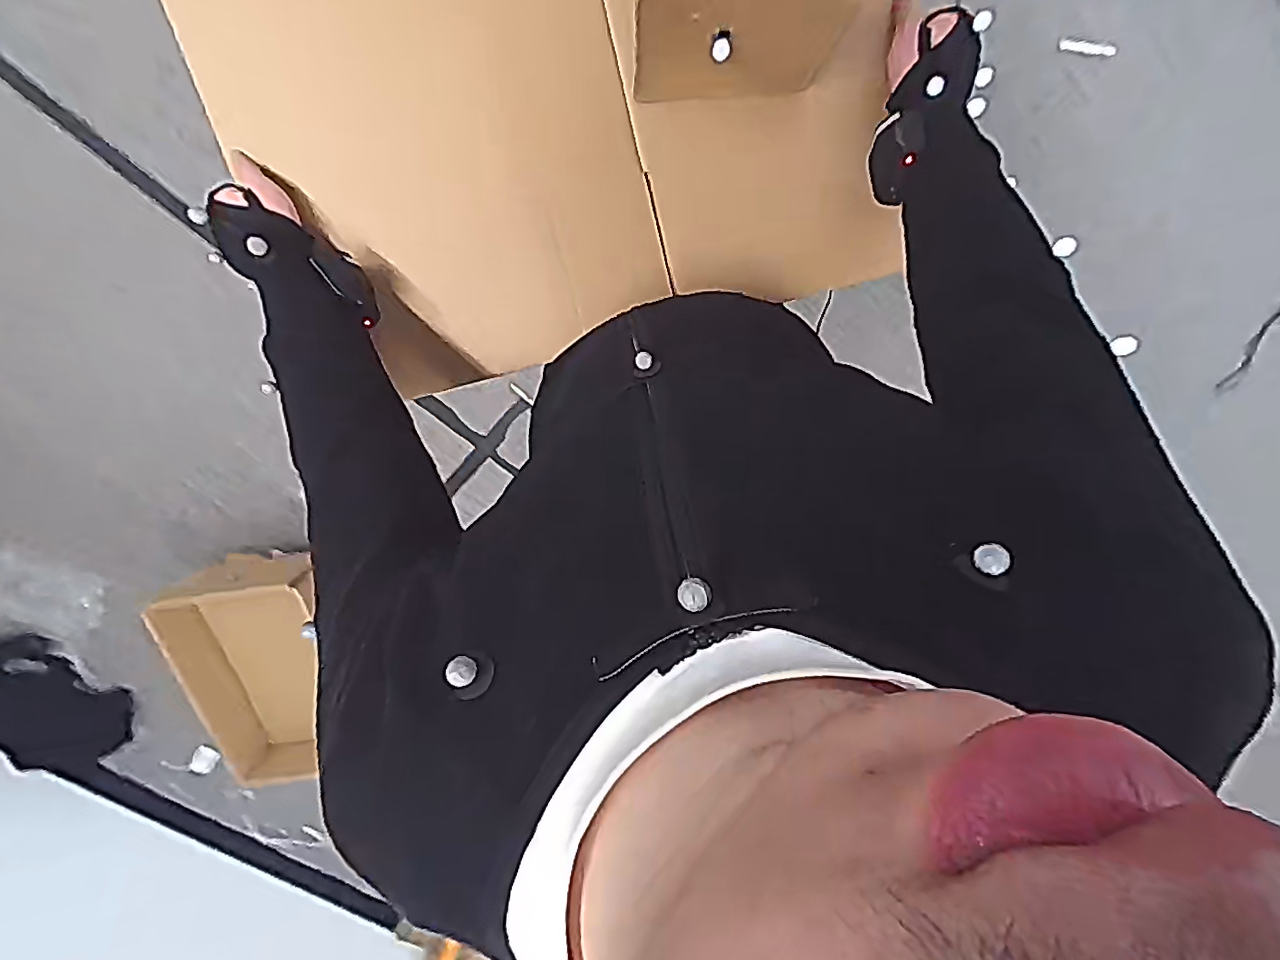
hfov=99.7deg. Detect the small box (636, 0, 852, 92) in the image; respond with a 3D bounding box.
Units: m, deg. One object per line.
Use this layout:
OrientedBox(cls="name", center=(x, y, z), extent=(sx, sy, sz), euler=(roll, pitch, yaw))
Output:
OrientedBox(cls="small box", center=(0.082, -0.448, 0.442), extent=(0.179, 0.176, 0.168), euler=(-4, 103, 0))
